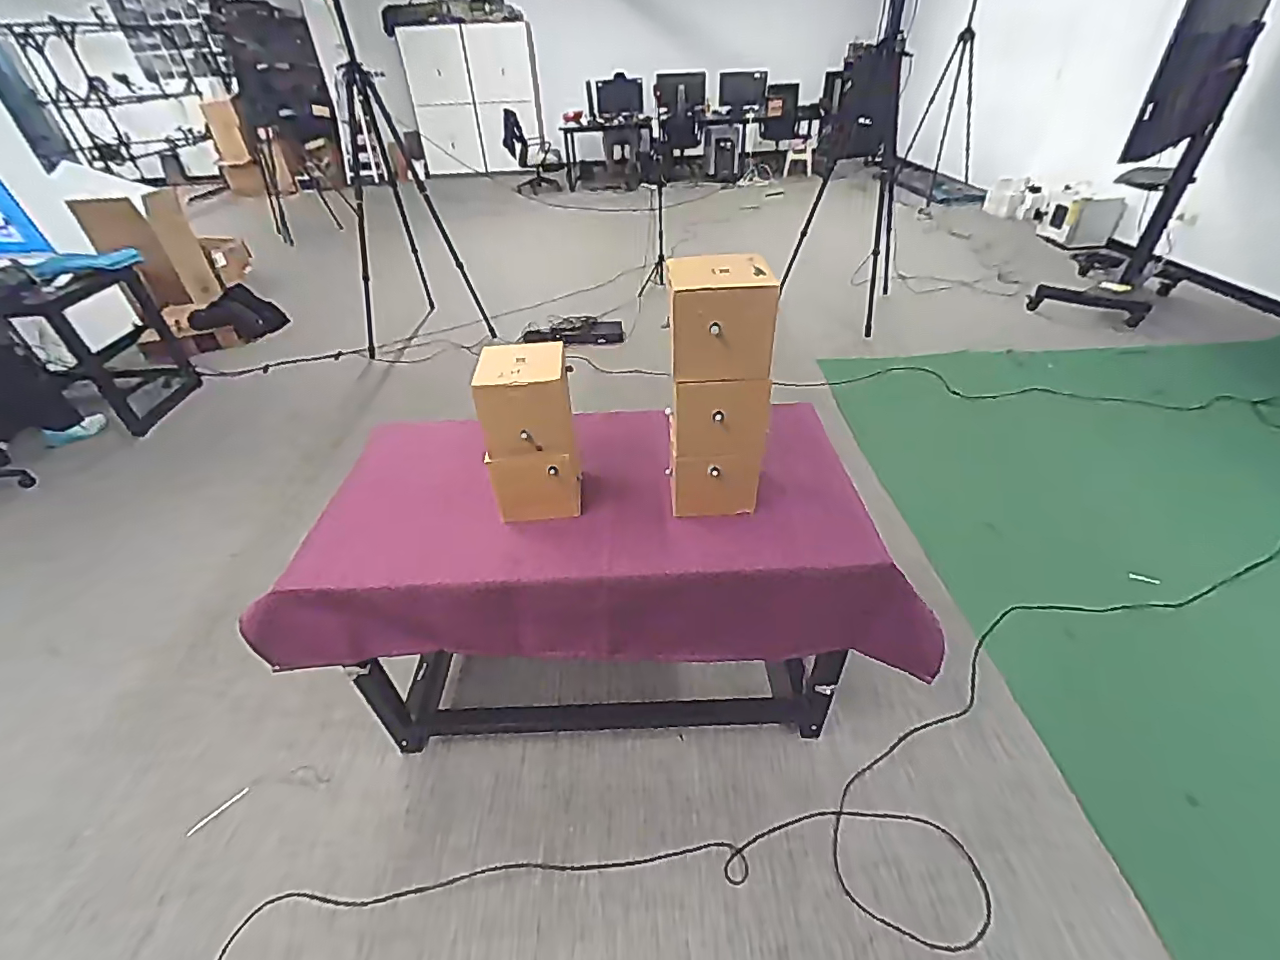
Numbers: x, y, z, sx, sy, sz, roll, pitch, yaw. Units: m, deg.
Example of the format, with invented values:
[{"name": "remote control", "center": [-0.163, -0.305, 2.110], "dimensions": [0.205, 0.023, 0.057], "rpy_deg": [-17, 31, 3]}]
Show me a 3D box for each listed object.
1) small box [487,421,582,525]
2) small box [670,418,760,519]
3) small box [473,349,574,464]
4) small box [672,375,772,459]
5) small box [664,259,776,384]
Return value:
[{"name": "small box", "center": [-0.226, -0.015, 1.199], "dimensions": [0.179, 0.176, 0.168], "rpy_deg": [-5, 38, -3]}, {"name": "small box", "center": [0.158, -0.028, 1.182], "dimensions": [0.179, 0.176, 0.168], "rpy_deg": [-2, 39, 1]}, {"name": "small box", "center": [-0.229, -0.152, 1.106], "dimensions": [0.168, 0.176, 0.179], "rpy_deg": [-5, 38, -2]}, {"name": "small box", "center": [0.154, -0.156, 1.079], "dimensions": [0.179, 0.176, 0.168], "rpy_deg": [-3, 39, 2]}, {"name": "small box", "center": [0.138, -0.284, 0.977], "dimensions": [0.179, 0.176, 0.168], "rpy_deg": [-4, 39, 2]}]
